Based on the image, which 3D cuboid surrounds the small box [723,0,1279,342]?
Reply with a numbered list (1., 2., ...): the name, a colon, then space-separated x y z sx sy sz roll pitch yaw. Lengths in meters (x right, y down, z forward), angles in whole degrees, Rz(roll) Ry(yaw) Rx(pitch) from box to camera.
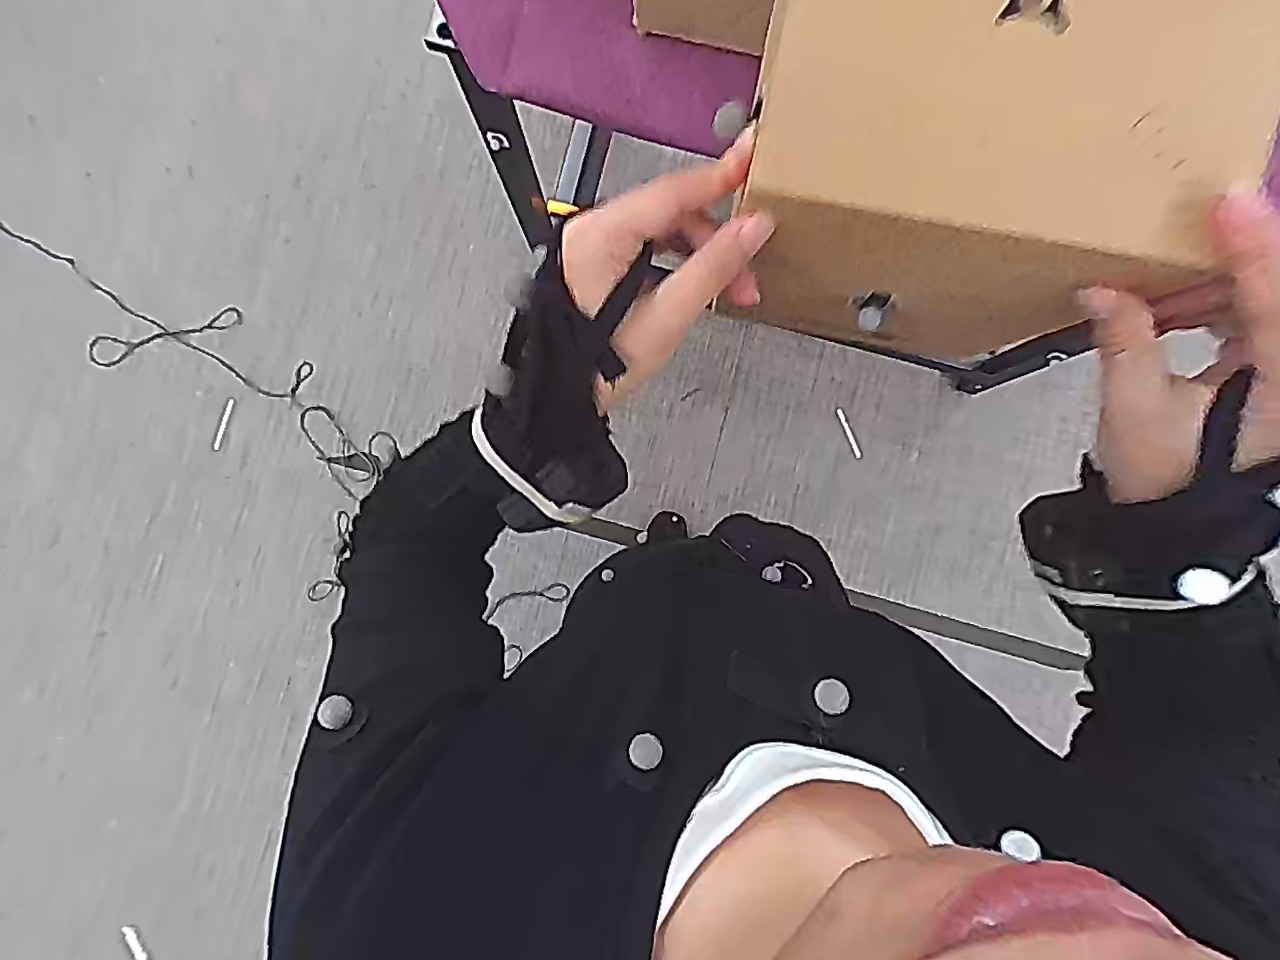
1. small box: 0.140 -0.177 0.260 0.168 0.176 0.179 12 93 2
